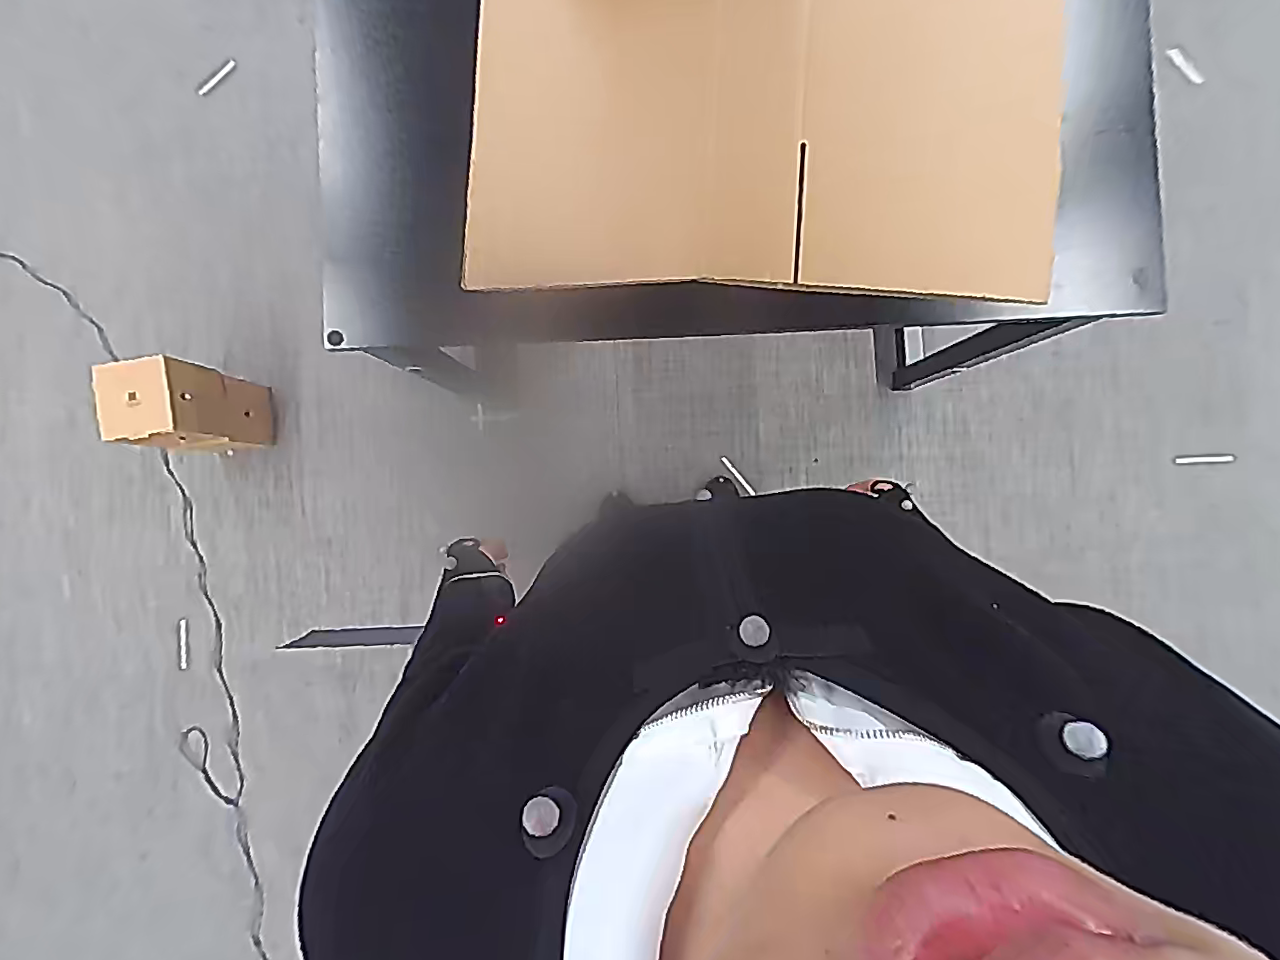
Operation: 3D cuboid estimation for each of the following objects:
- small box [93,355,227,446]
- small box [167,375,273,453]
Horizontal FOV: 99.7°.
[{"bbox_3d":[-1.124,-0.179,1.280,0.168,0.176,0.179,-9,88,0],"label":"small box"},{"bbox_3d":[-1.119,-0.171,1.442,0.168,0.176,0.179,-6,90,1],"label":"small box"}]
